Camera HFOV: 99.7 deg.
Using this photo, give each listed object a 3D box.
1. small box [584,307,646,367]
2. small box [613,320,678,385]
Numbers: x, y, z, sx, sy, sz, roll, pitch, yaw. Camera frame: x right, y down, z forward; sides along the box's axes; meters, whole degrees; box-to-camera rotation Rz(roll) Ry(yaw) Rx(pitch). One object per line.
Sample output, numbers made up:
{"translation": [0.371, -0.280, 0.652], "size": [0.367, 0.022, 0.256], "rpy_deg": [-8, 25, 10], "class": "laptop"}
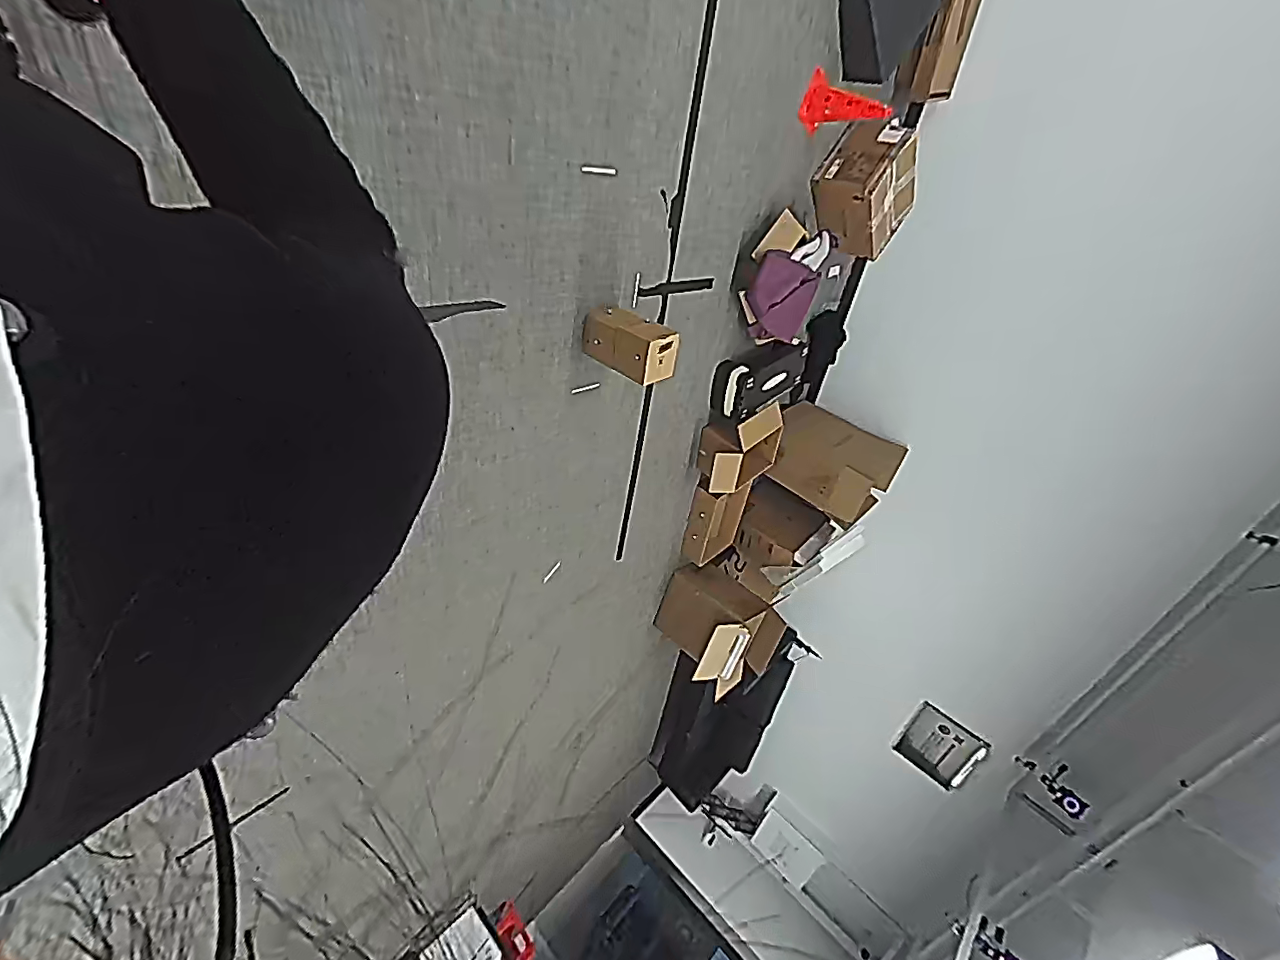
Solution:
{"translation": [-0.100, -0.559, 2.102], "size": [0.179, 0.176, 0.168], "rpy_deg": [-27, 139, -39], "class": "small box"}
{"translation": [0.017, -0.483, 2.013], "size": [0.168, 0.176, 0.179], "rpy_deg": [-28, 140, -39], "class": "small box"}
